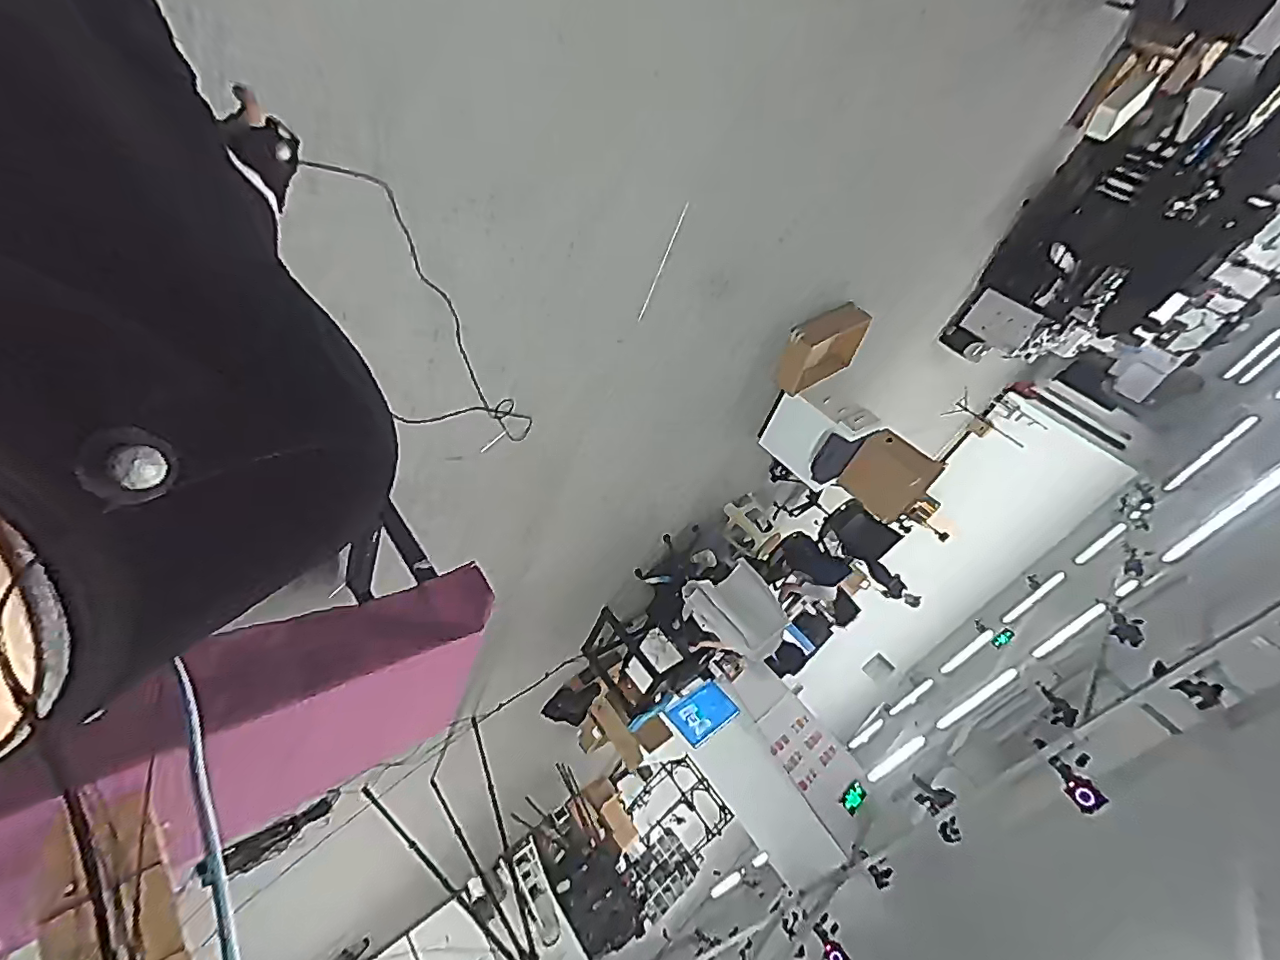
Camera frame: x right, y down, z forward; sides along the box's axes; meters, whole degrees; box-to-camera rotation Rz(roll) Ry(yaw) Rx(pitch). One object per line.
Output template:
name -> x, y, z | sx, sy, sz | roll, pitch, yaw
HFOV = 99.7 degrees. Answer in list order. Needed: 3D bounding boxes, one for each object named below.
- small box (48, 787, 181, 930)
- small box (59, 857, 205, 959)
small box -> -1.059, 0.775, 1.099 | 0.179, 0.176, 0.168 | -15, 142, -43
small box -> -0.951, 0.866, 1.017 | 0.179, 0.176, 0.168 | -14, 142, -45
